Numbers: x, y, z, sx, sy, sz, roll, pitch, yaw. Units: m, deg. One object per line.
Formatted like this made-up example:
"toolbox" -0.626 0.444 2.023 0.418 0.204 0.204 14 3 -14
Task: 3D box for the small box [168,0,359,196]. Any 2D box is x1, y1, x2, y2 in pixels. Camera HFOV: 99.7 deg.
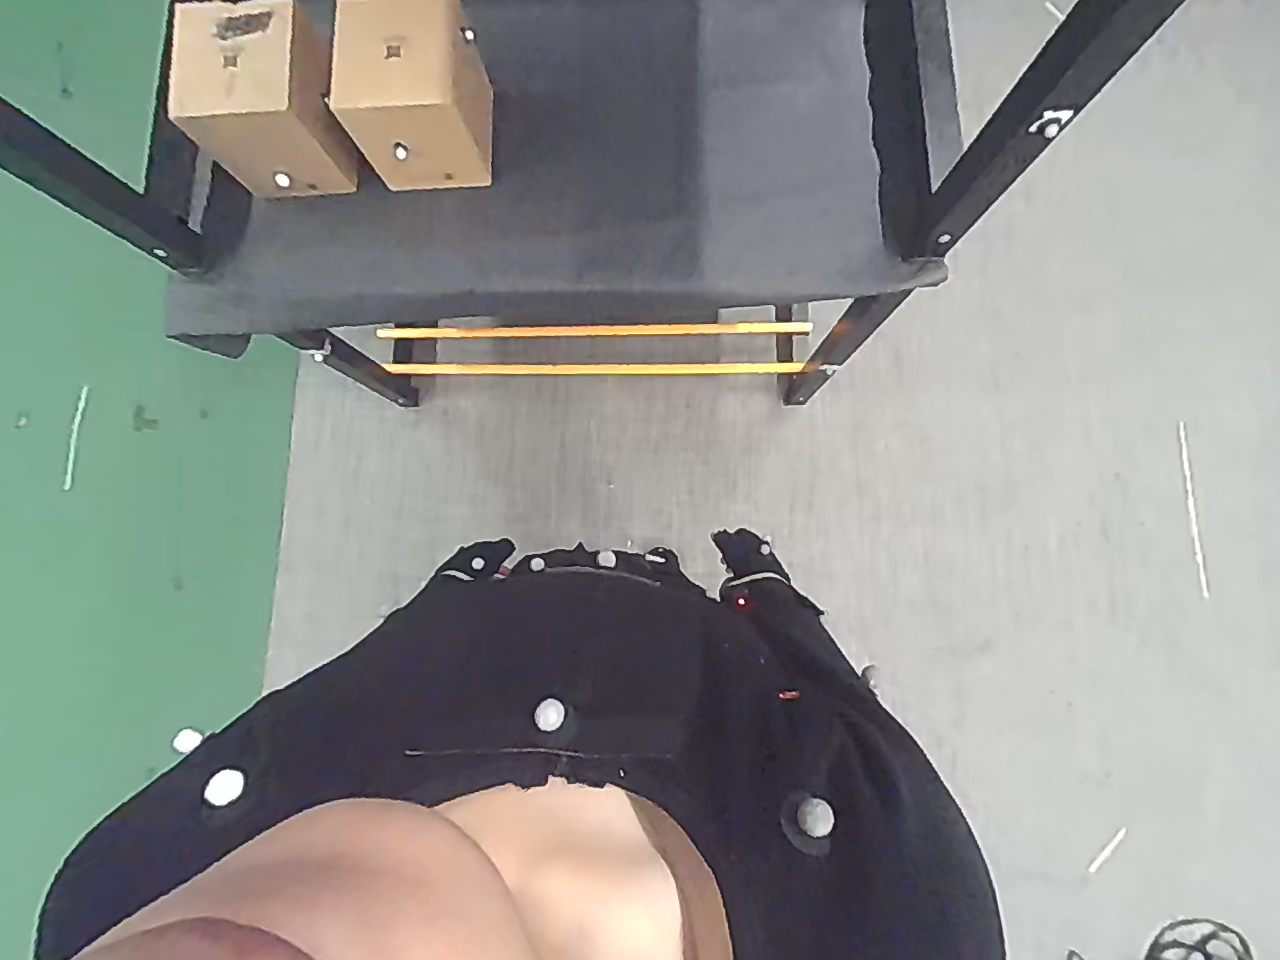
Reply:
"small box" -0.541 -0.557 0.803 0.168 0.176 0.179 -2 82 2
